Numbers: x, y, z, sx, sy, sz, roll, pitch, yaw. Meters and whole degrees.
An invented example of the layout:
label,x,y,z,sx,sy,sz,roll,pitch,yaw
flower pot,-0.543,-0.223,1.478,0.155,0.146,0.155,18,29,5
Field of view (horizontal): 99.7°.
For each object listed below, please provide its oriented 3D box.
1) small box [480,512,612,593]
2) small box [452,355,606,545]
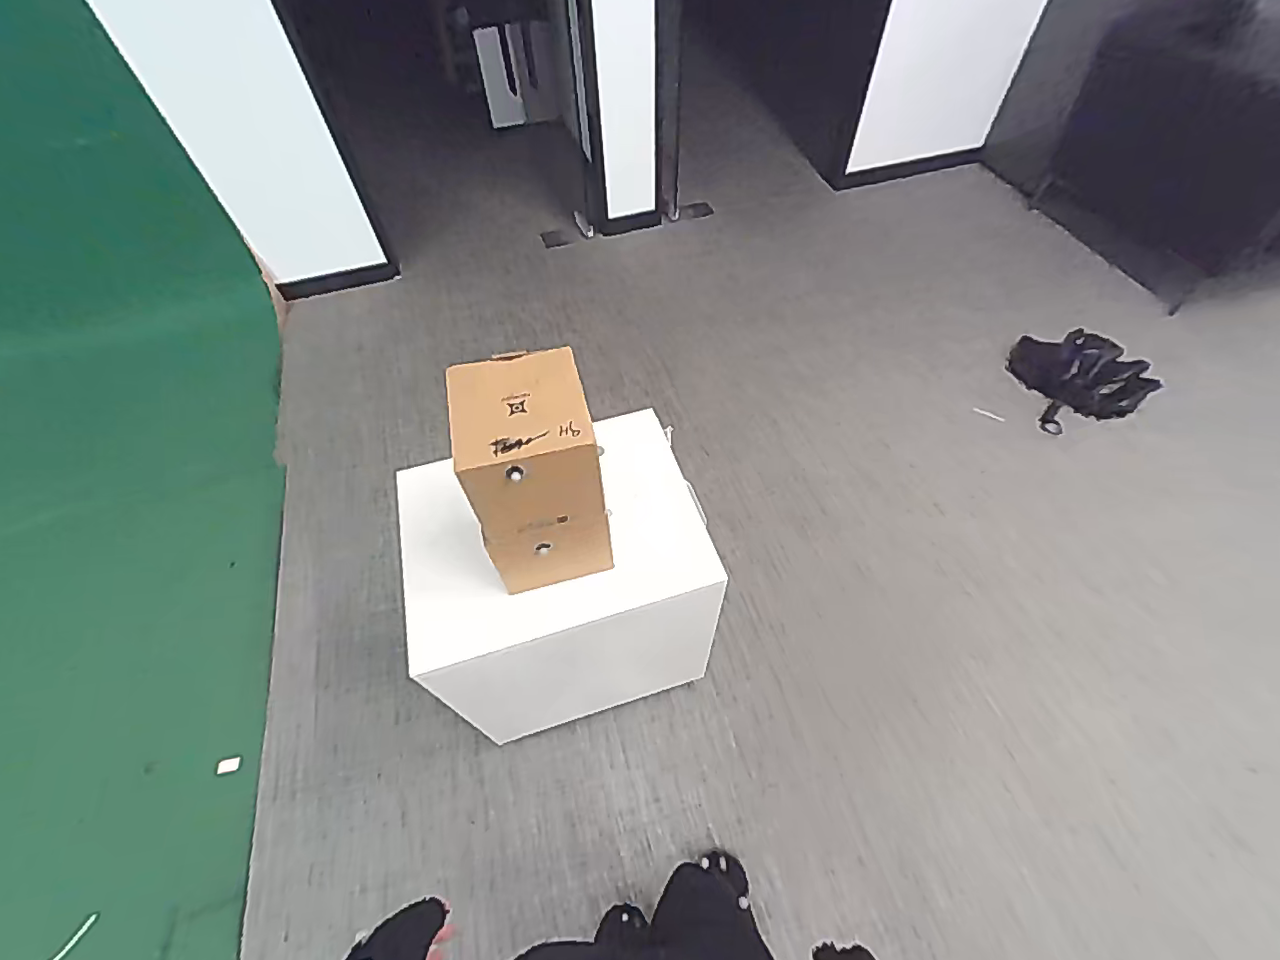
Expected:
label,x,y,z,sx,sy,sz,roll,pitch,yaw
small box,-0.150,0.060,0.865,0.179,0.176,0.168,-13,55,-8
small box,-0.147,-0.039,0.738,0.168,0.176,0.179,-14,55,-10
